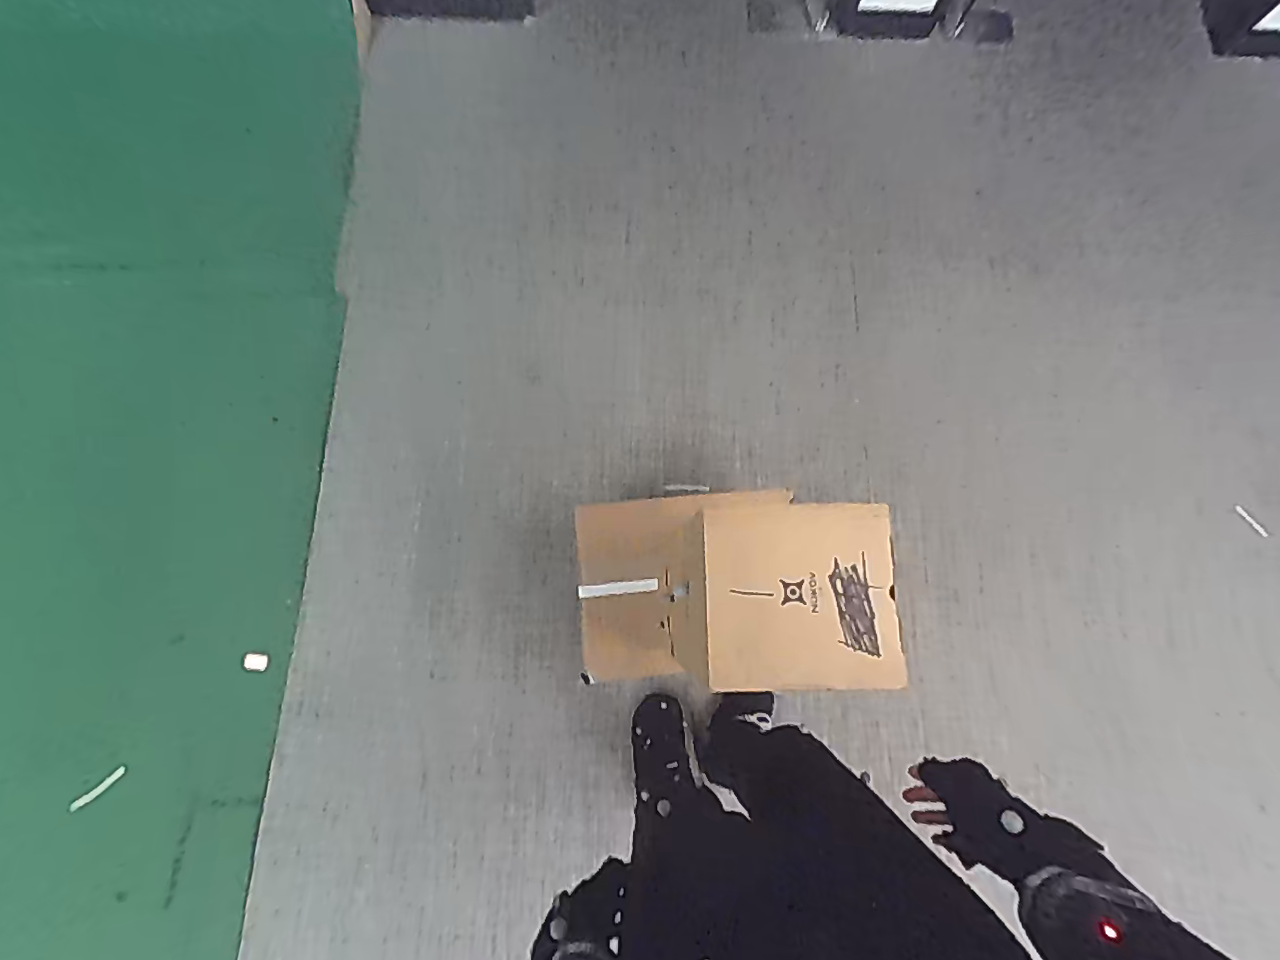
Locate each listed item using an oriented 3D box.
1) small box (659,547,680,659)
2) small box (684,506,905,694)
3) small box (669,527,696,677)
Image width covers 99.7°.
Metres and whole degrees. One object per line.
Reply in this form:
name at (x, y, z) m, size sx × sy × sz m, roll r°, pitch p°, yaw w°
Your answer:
small box at (0.123, 0.197, 0.880) m, size 0.179 × 0.176 × 0.168 m, roll -2°, pitch 78°, yaw -4°
small box at (0.142, 0.122, 0.561) m, size 0.179 × 0.176 × 0.168 m, roll 0°, pitch 77°, yaw -1°
small box at (0.130, 0.155, 0.722) m, size 0.168 × 0.176 × 0.179 m, roll -3°, pitch 78°, yaw -3°
